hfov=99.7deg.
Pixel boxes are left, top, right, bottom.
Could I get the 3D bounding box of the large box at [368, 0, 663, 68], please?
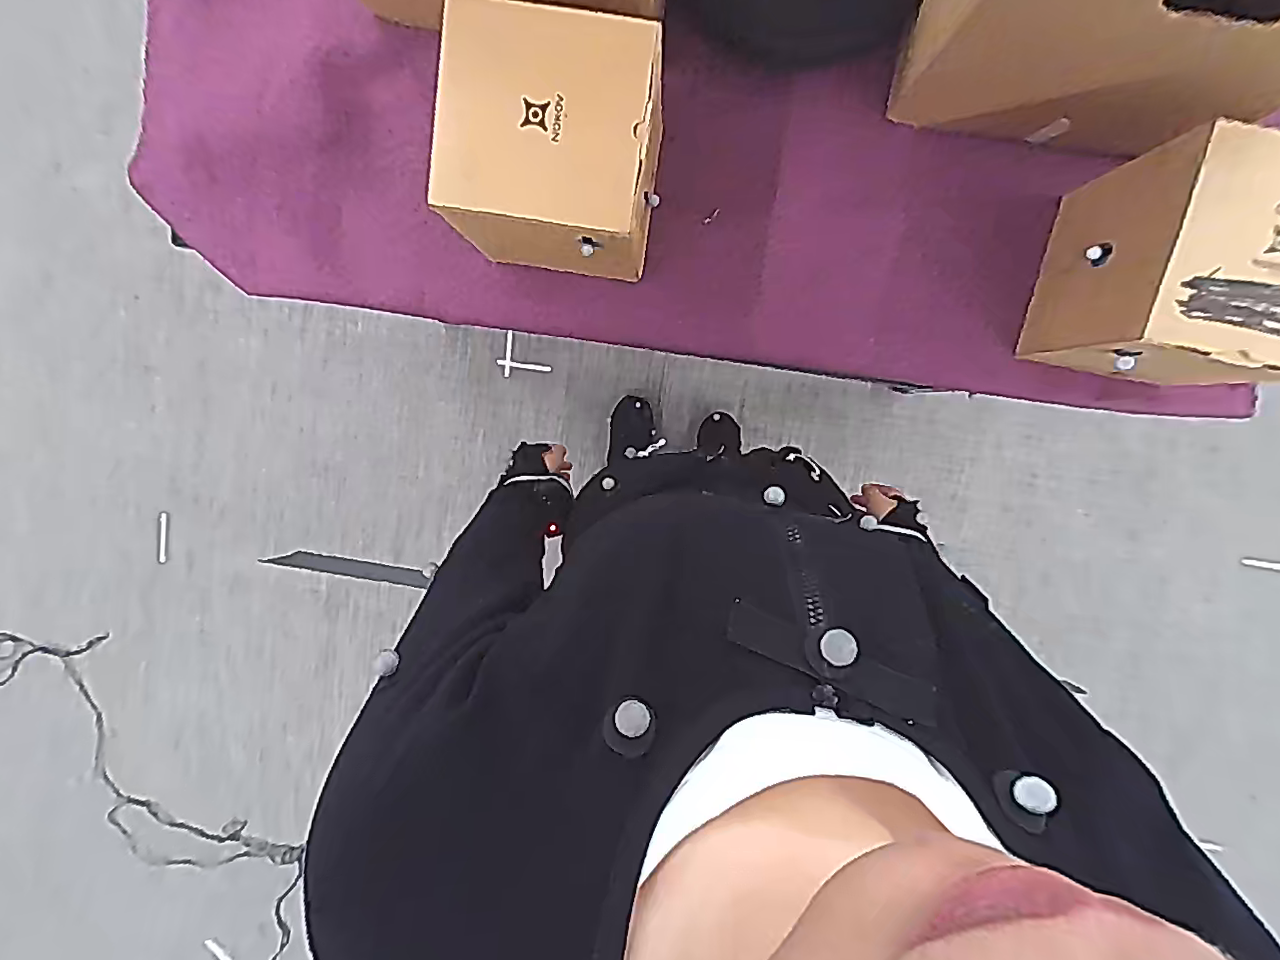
[{"bbox_3d":[-0.107,-0.637,0.407,0.320,0.320,0.408,10,102,1],"label":"large box"}]
